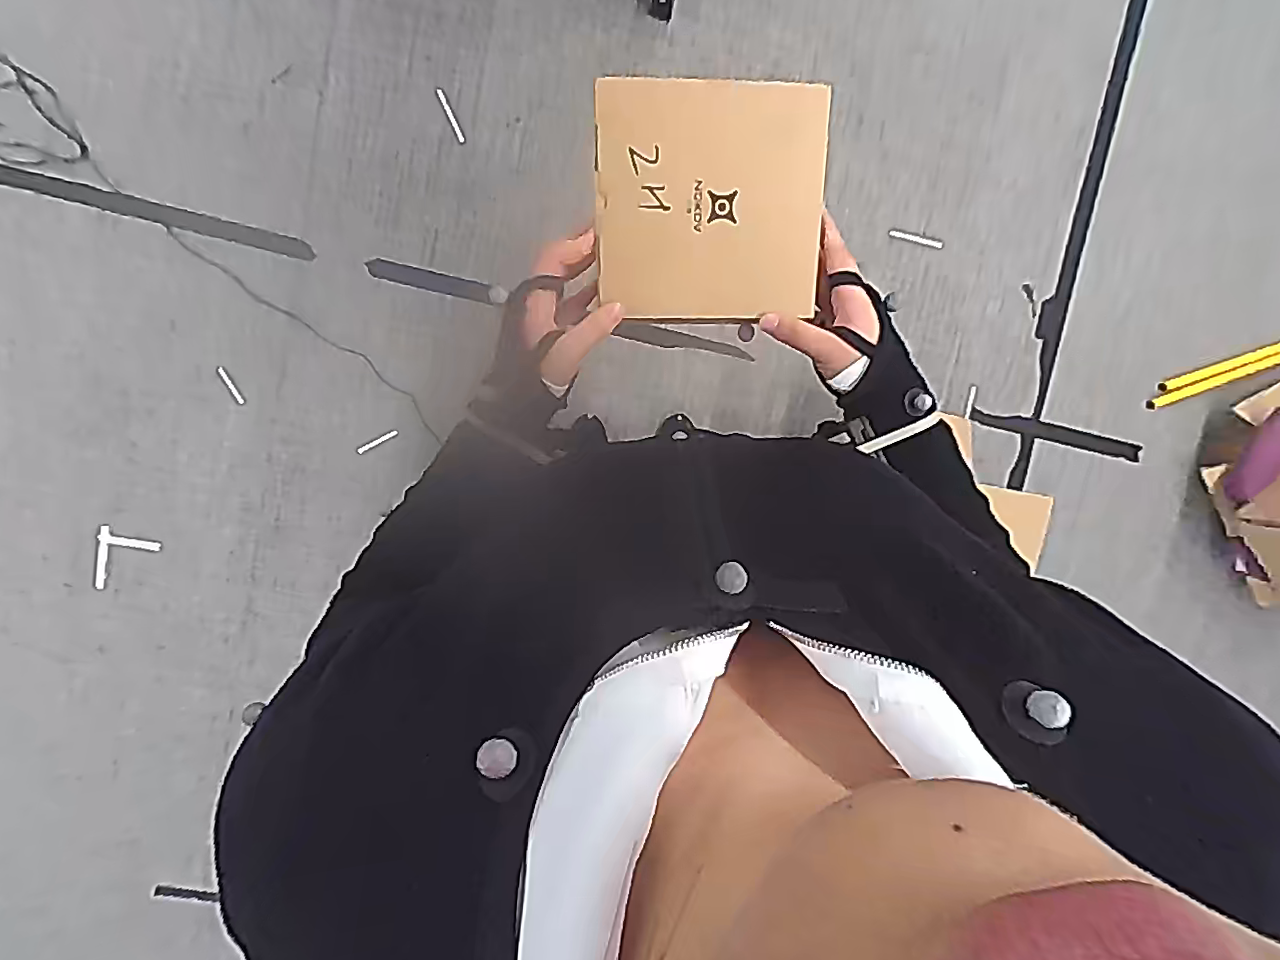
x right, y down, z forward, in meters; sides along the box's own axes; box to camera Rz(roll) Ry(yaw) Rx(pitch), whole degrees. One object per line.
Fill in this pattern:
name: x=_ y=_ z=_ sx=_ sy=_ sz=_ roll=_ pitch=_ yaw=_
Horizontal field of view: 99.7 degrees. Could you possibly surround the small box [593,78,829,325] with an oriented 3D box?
small box: x=0.047 y=-0.229 z=0.489 sx=0.179 sy=0.176 sz=0.168 roll=-1 pitch=105 yaw=-4
